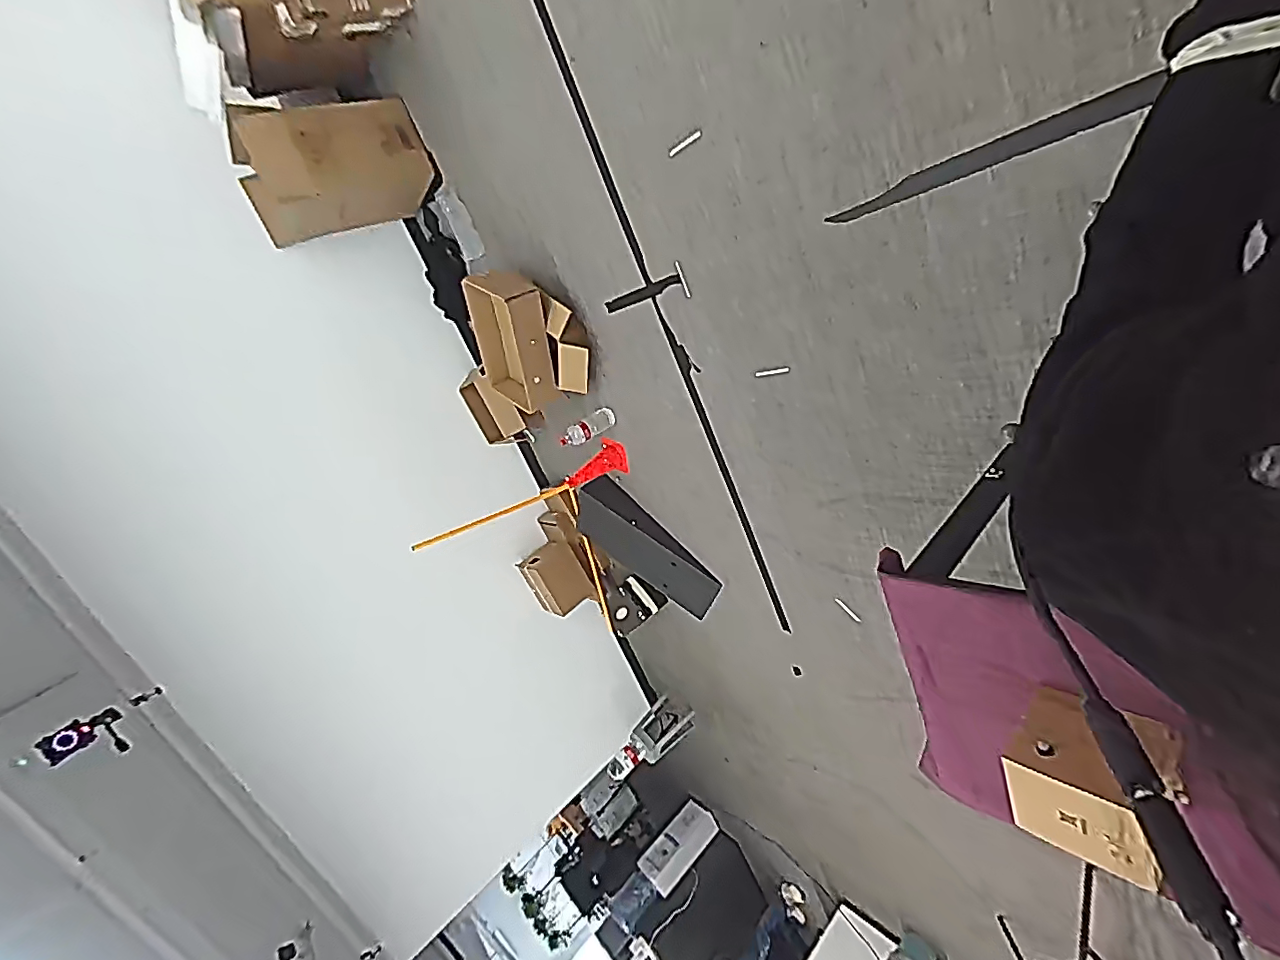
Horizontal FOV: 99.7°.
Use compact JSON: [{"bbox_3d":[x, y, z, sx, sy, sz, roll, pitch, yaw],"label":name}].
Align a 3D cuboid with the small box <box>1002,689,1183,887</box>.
[{"bbox_3d":[0.700,0.457,0.838,0.179,0.176,0.168,5,125,53],"label":"small box"}]
